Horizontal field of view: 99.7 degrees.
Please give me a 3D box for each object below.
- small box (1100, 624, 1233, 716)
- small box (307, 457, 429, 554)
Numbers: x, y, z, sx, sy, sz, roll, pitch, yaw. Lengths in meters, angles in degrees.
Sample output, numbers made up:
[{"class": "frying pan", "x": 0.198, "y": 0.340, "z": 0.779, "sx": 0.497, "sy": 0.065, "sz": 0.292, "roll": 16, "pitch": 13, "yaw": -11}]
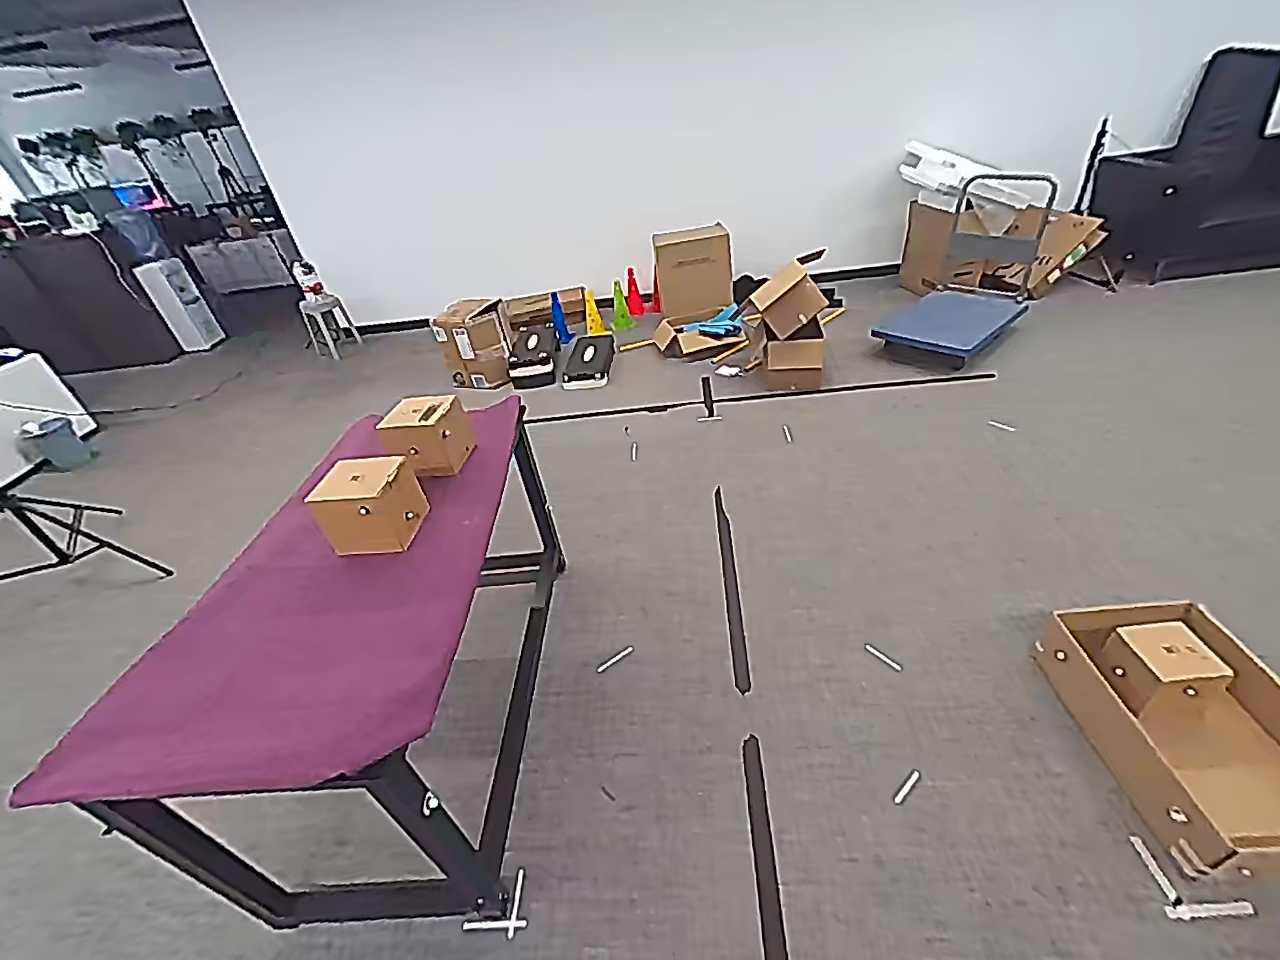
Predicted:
[{"class": "small box", "x": 1.379, "y": 0.508, "z": 1.437, "sx": 0.179, "sy": 0.176, "sz": 0.168, "roll": -7, "pitch": 37, "yaw": 3}, {"class": "small box", "x": -0.641, "y": 0.063, "z": 1.299, "sx": 0.179, "sy": 0.176, "sz": 0.168, "roll": -4, "pitch": 36, "yaw": 6}]
